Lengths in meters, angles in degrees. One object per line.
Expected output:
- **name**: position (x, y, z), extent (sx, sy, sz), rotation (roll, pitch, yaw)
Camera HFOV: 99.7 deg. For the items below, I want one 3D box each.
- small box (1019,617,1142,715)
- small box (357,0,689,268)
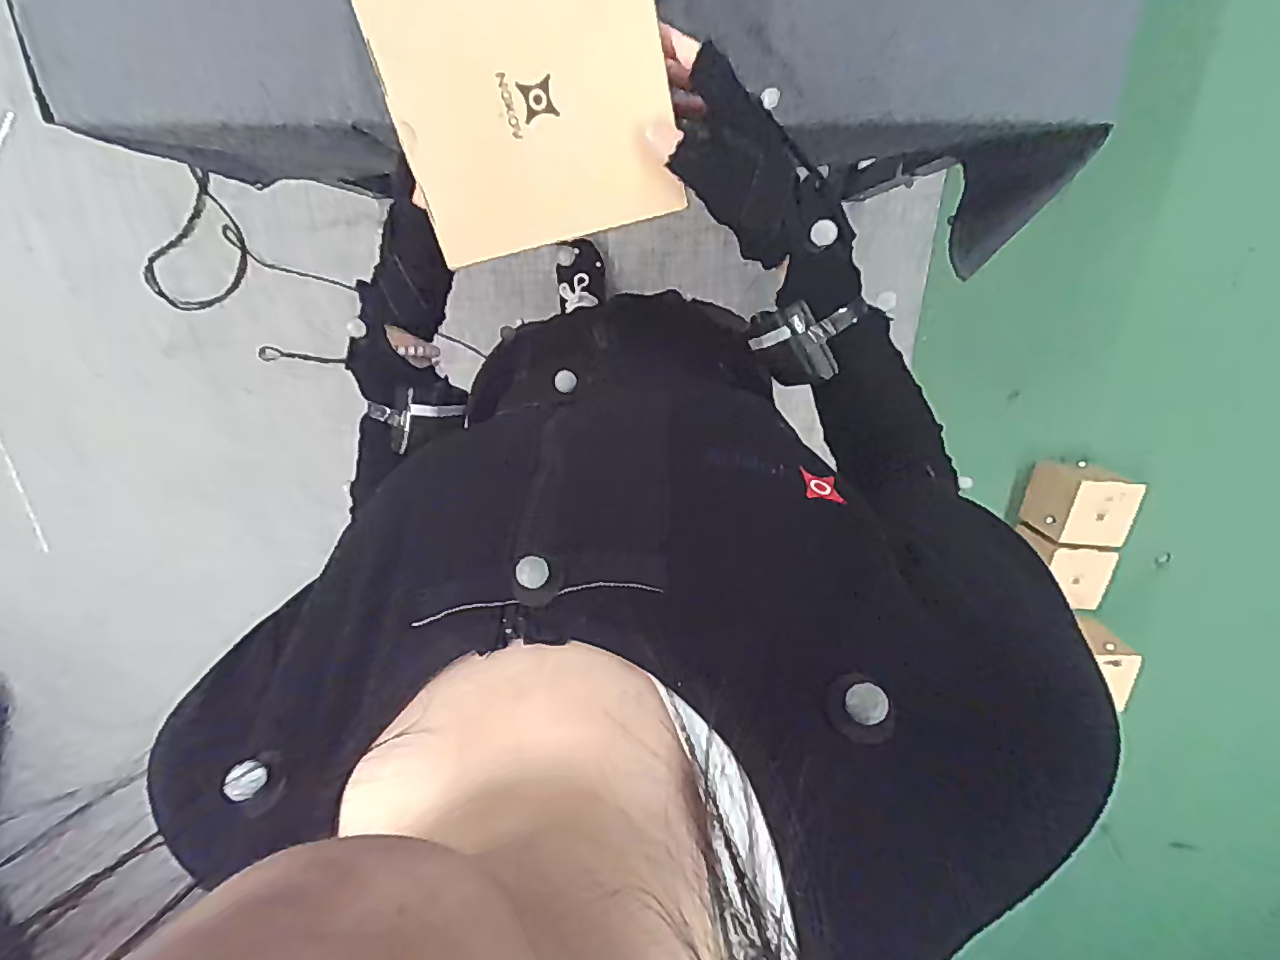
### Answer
- **small box**: position (1.137, 0.484, 1.415), extent (0.168, 0.176, 0.179), rotation (1, 111, 1)
- **small box**: position (-0.071, -0.274, 0.416), extent (0.179, 0.176, 0.168), rotation (-13, 115, 4)
